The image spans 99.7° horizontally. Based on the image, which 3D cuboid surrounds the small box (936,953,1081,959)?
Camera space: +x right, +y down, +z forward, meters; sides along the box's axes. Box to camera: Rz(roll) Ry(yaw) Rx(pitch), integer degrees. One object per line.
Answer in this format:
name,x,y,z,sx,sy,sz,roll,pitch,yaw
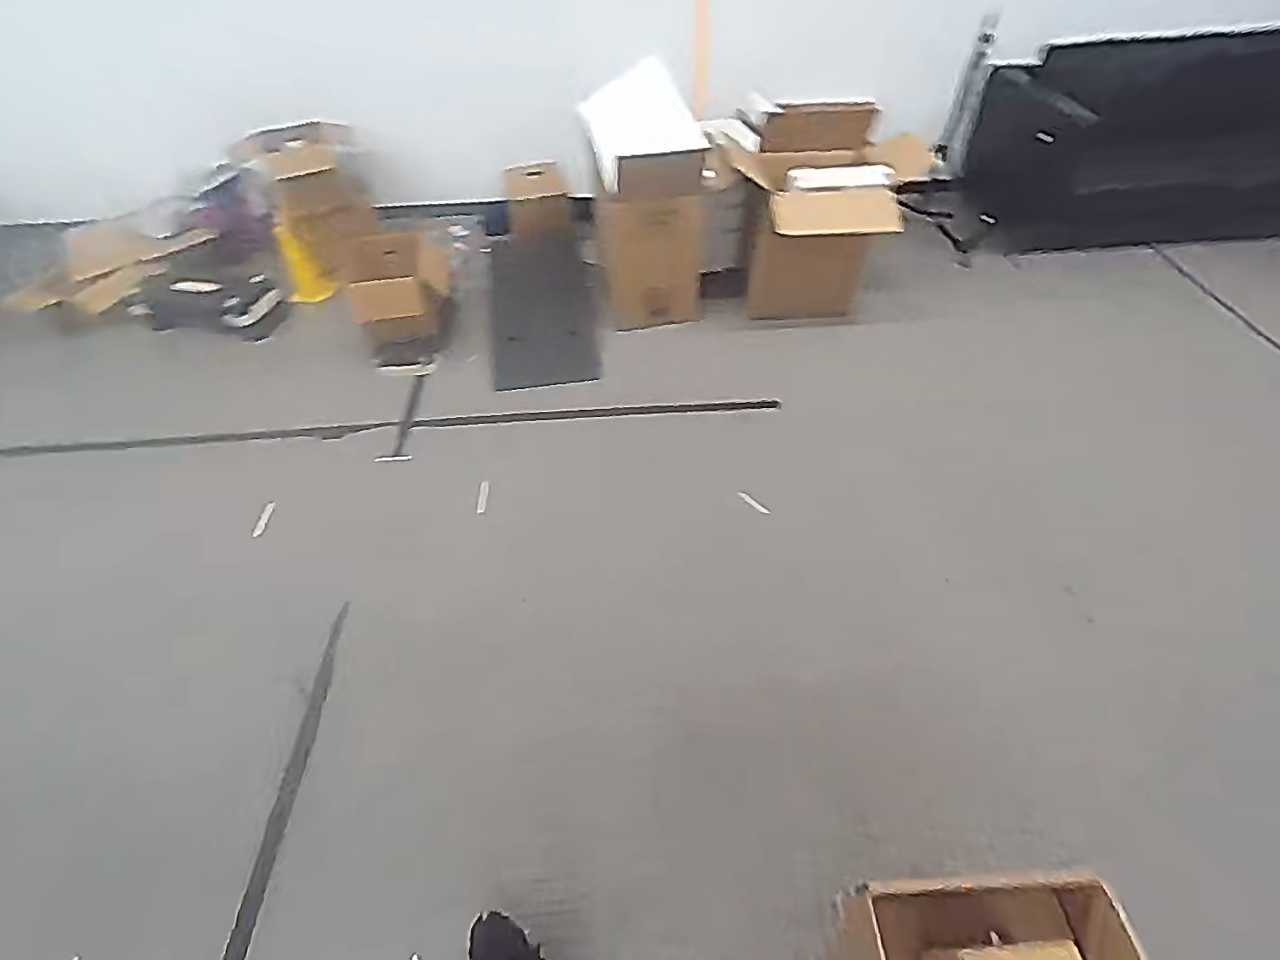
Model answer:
small box,0.551,0.800,0.783,0.179,0.176,0.168,-2,50,-2
